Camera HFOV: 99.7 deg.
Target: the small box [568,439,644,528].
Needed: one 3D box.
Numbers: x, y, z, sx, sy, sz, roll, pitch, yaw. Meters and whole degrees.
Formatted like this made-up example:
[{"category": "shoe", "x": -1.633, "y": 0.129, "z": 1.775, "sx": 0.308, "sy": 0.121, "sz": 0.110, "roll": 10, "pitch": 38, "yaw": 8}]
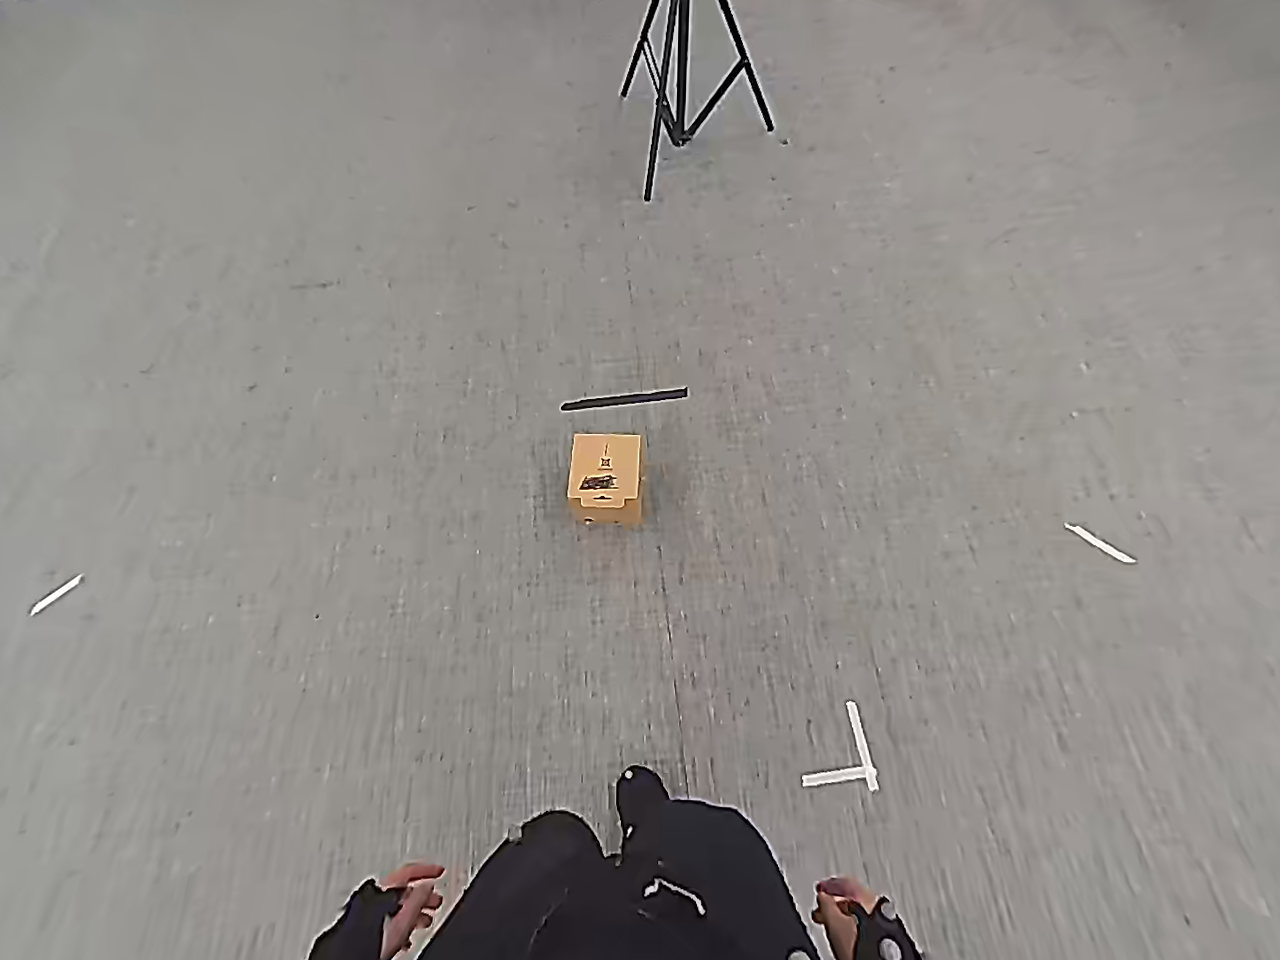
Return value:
[{"category": "small box", "x": -0.078, "y": 0.013, "z": 1.355, "sx": 0.168, "sy": 0.176, "sz": 0.179, "roll": 1, "pitch": 64, "yaw": 3}]
